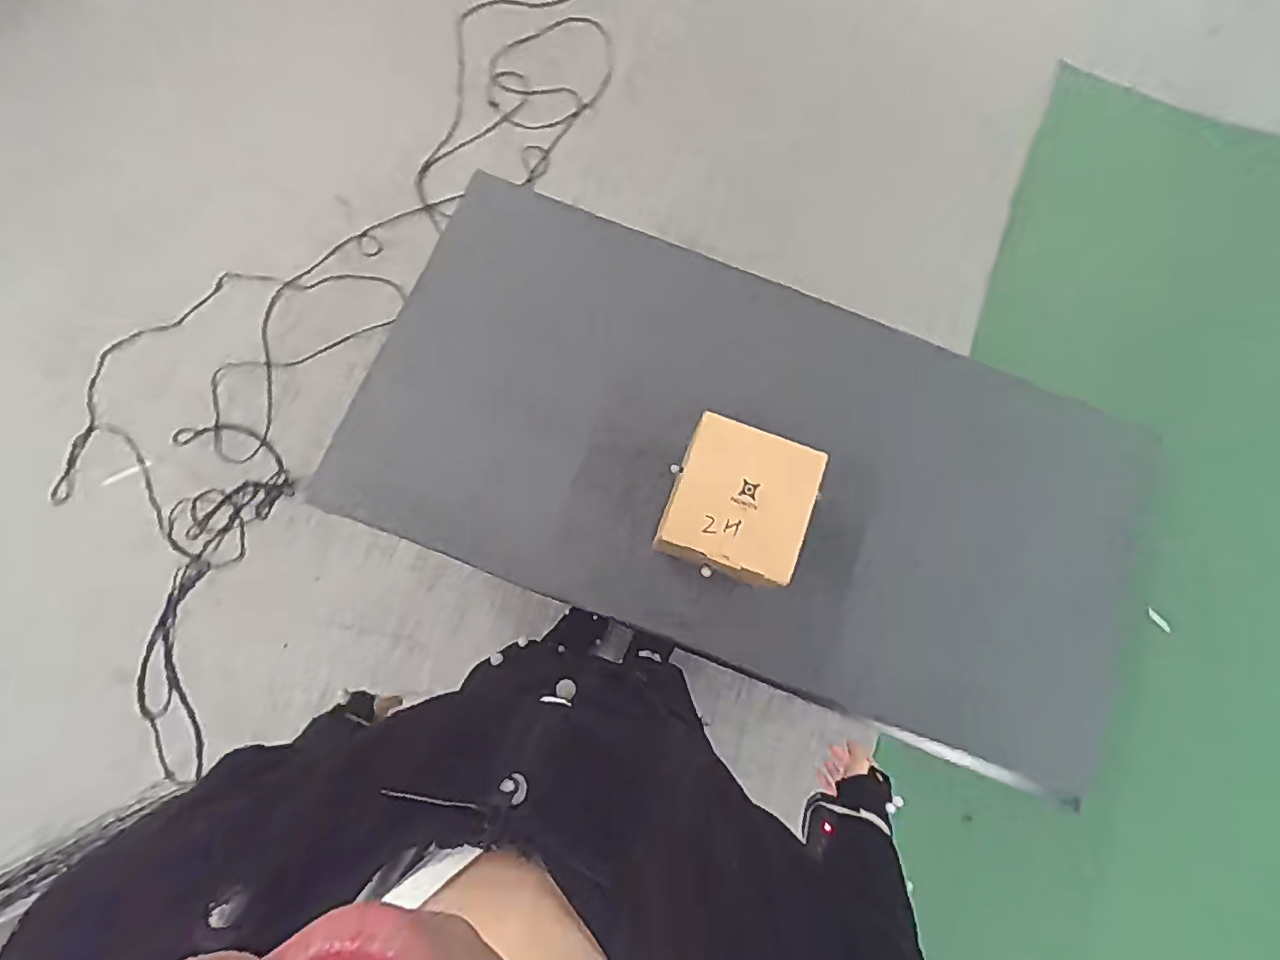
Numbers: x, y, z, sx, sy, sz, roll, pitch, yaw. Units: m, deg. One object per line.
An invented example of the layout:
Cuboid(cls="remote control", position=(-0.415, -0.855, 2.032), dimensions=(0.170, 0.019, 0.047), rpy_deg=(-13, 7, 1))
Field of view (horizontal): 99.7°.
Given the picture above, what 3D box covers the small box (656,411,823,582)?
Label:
Cuboid(cls="small box", position=(0.126, 0.032, 0.751), dimensions=(0.168, 0.176, 0.179), rpy_deg=(19, 79, 2))
